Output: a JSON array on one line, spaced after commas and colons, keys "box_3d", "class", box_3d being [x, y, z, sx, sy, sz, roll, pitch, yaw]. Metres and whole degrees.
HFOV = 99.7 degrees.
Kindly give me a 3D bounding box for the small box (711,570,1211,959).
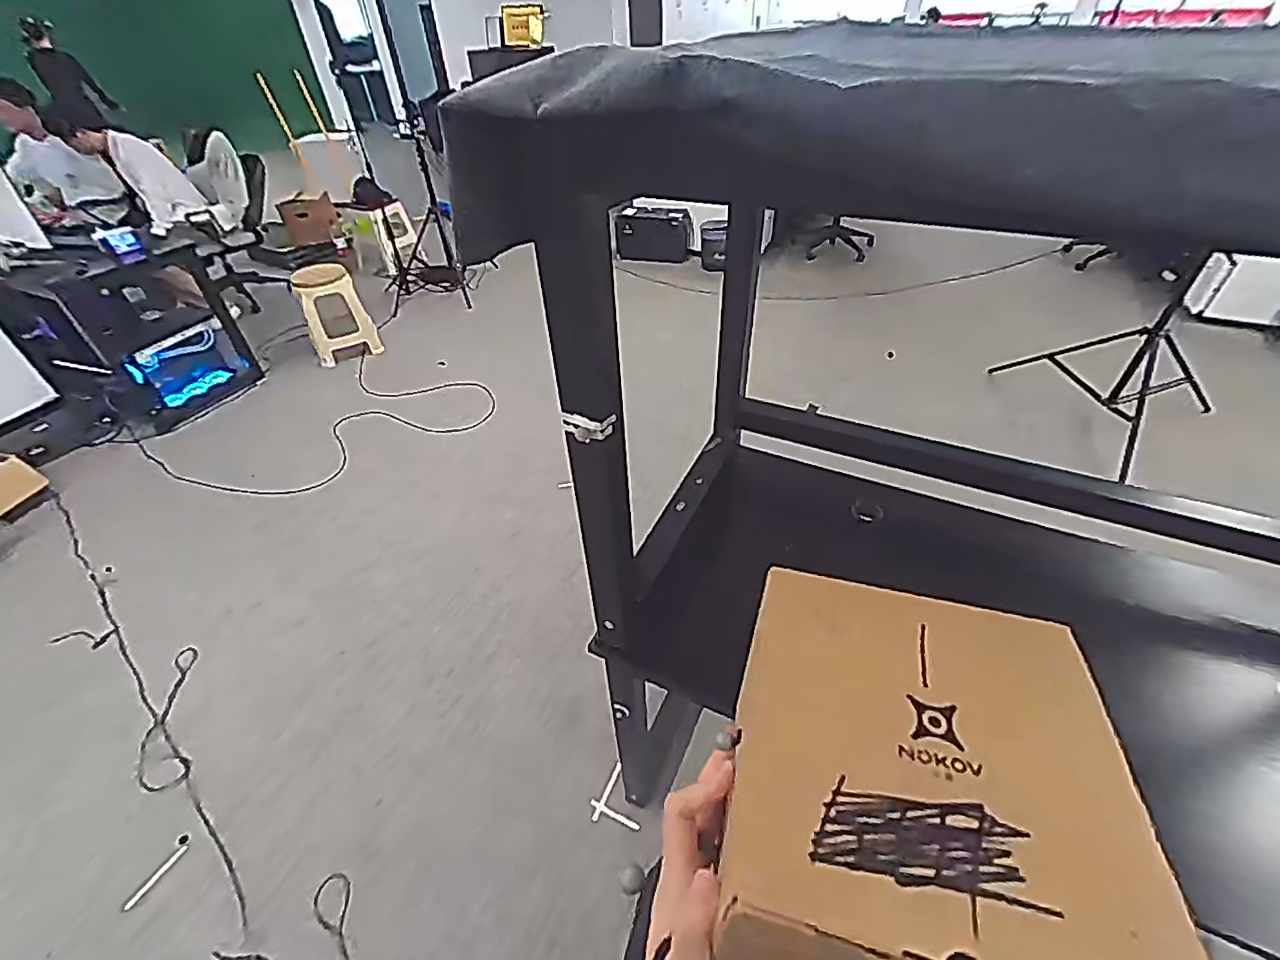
[{"box_3d": [0.136, 0.183, 0.299, 0.168, 0.176, 0.179, 10, 40, 11], "class": "small box"}]
